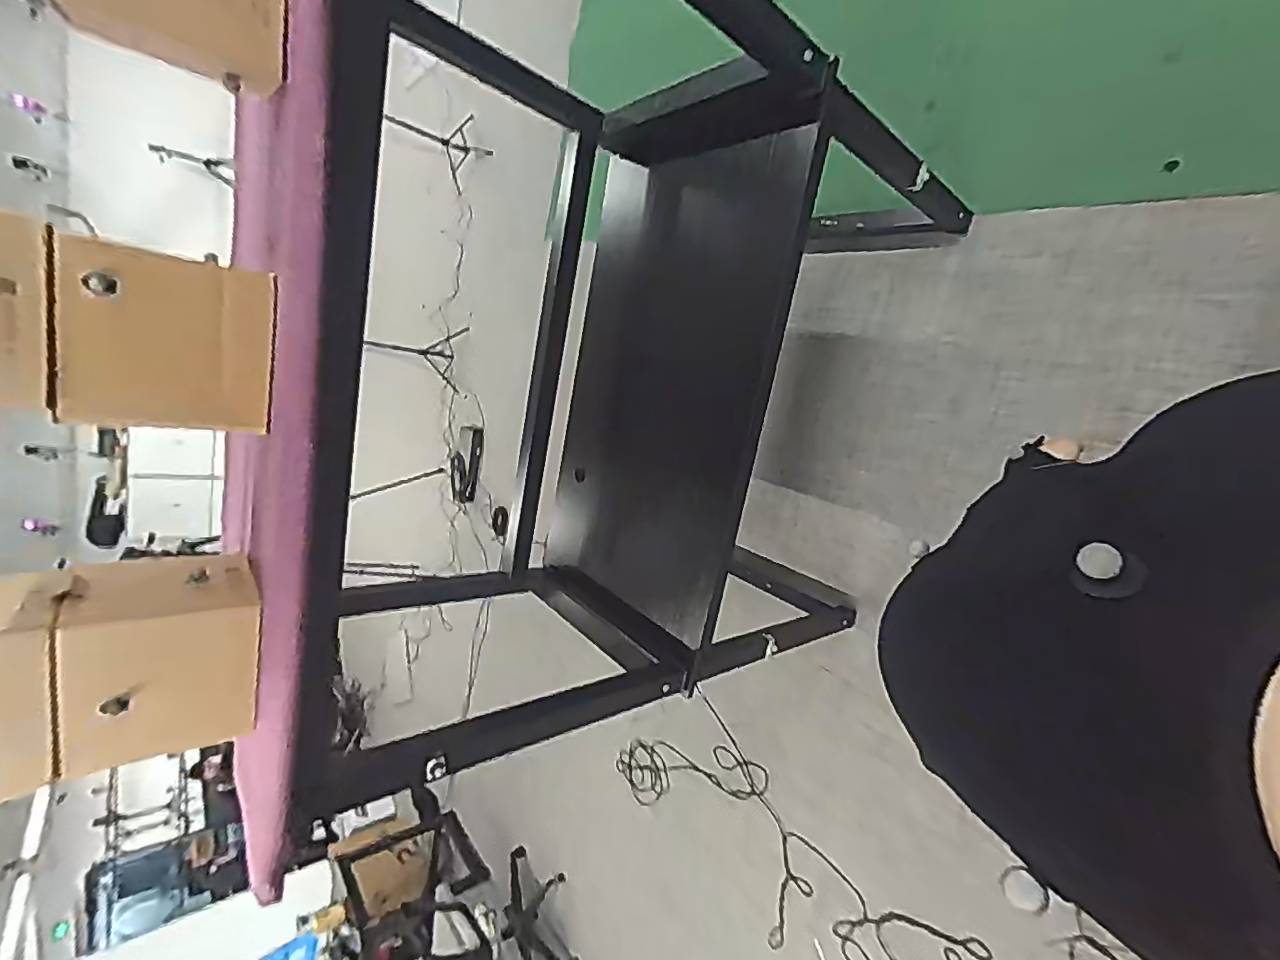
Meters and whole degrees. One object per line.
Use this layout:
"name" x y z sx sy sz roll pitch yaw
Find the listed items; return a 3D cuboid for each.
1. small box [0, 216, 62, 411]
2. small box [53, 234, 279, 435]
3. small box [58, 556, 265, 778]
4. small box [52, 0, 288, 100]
"small box" -0.628 -0.160 0.488 0.179 0.176 0.168 20 103 49
"small box" -0.506 -0.151 0.595 0.168 0.176 0.179 23 106 48
"small box" -0.561 0.204 0.648 0.168 0.176 0.179 21 105 45
"small box" -0.446 -0.501 0.524 0.179 0.176 0.168 33 115 46
